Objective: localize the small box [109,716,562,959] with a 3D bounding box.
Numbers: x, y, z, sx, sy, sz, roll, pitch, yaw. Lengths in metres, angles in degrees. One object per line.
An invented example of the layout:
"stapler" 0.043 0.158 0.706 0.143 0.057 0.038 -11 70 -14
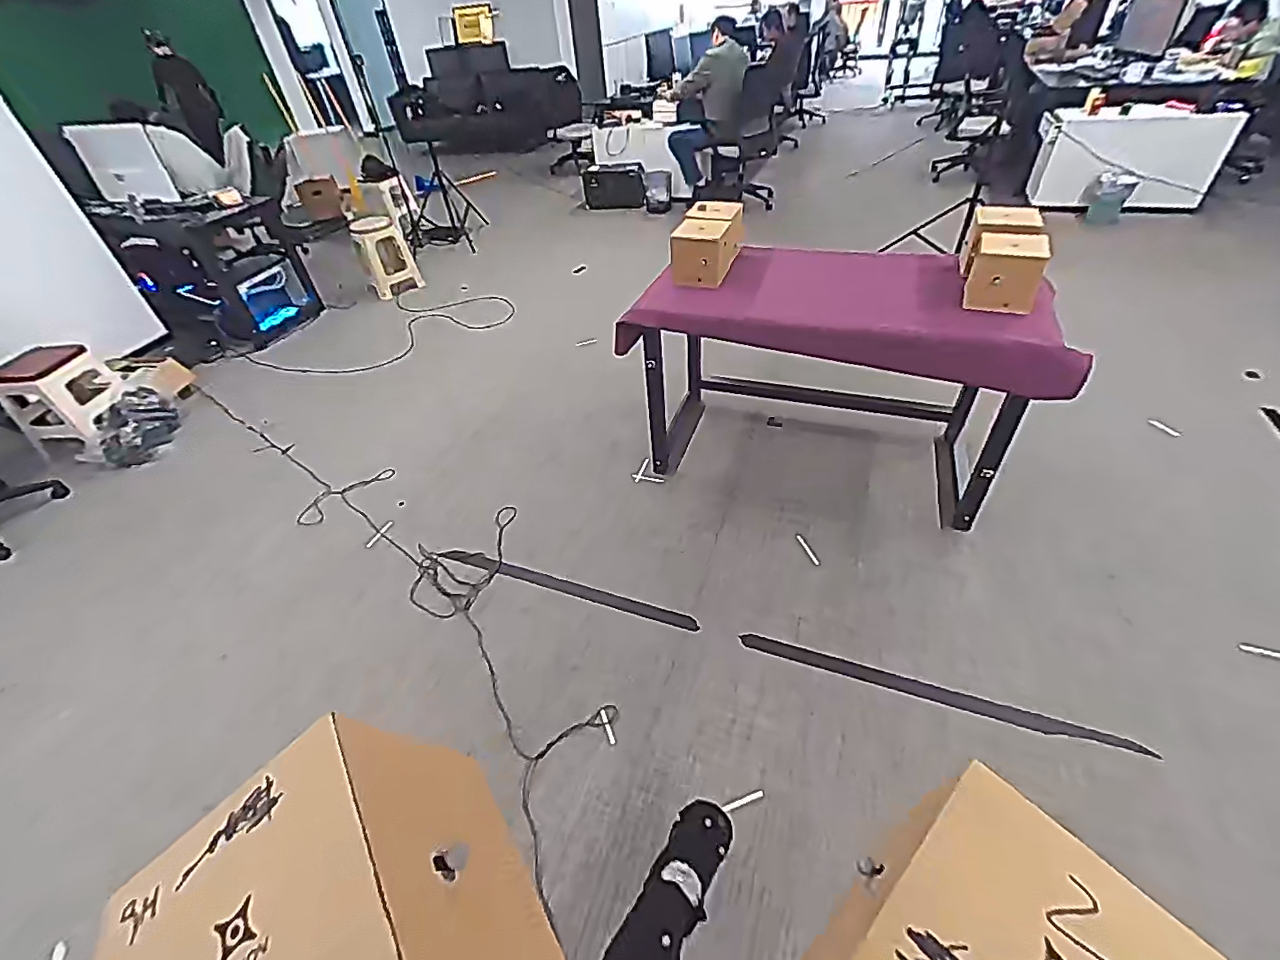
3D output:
"small box" -0.178 0.290 0.345 0.168 0.176 0.179 -40 51 -10

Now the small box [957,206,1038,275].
"small box" 1.128 -0.756 1.723 0.179 0.176 0.168 12 46 18

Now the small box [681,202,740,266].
"small box" 0.260 -0.908 1.996 0.179 0.176 0.168 13 48 19

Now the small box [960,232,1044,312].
"small box" 1.050 -0.606 1.577 0.168 0.176 0.179 14 45 22
